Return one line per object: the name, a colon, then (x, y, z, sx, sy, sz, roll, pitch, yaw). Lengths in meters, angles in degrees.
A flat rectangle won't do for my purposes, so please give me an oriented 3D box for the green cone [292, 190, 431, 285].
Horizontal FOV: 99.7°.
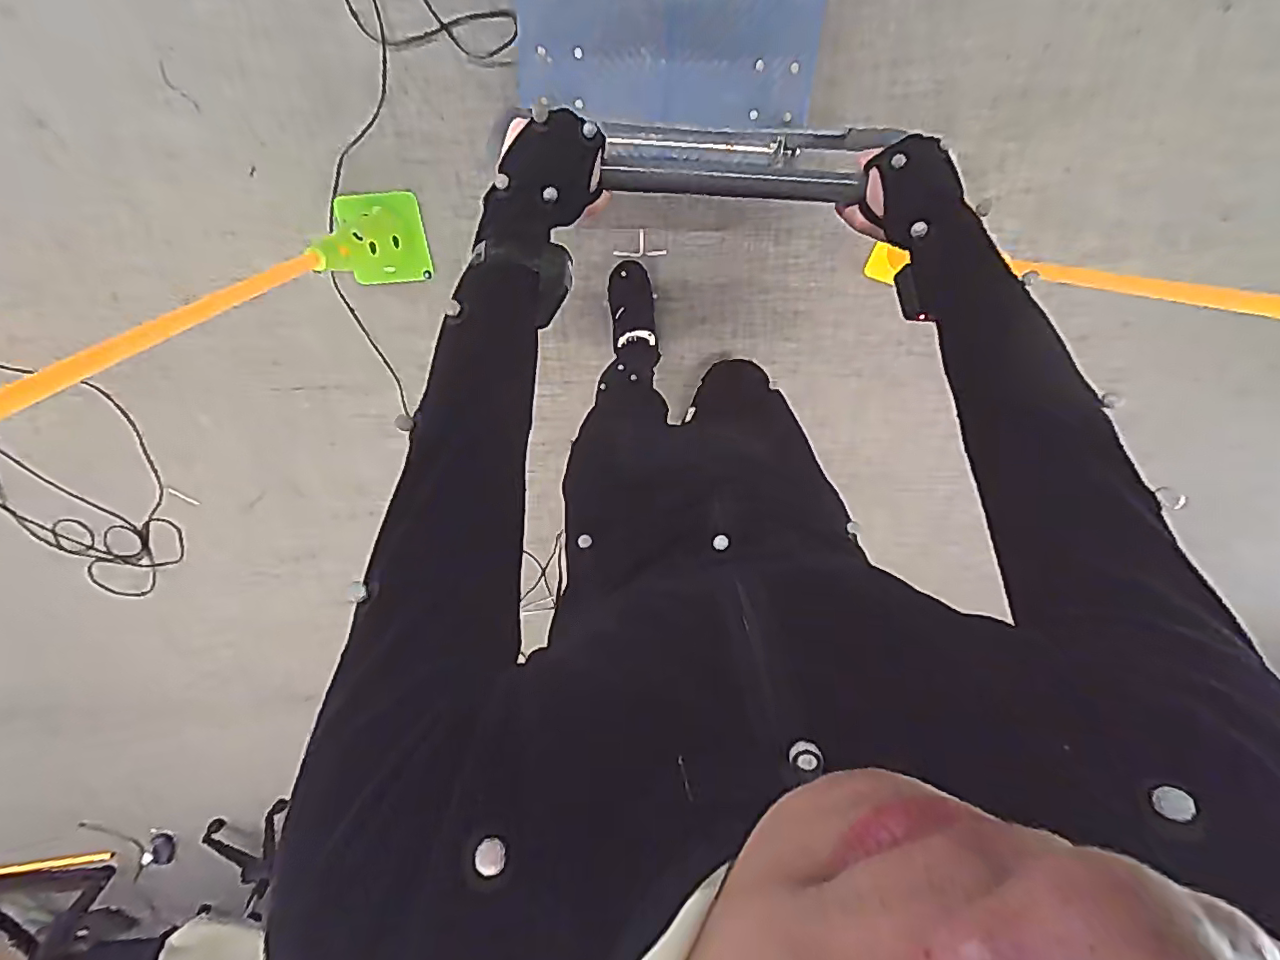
green cone: (-0.623, -0.501, 1.158, 0.202, 0.368, 0.200, -4, 119, 2)
